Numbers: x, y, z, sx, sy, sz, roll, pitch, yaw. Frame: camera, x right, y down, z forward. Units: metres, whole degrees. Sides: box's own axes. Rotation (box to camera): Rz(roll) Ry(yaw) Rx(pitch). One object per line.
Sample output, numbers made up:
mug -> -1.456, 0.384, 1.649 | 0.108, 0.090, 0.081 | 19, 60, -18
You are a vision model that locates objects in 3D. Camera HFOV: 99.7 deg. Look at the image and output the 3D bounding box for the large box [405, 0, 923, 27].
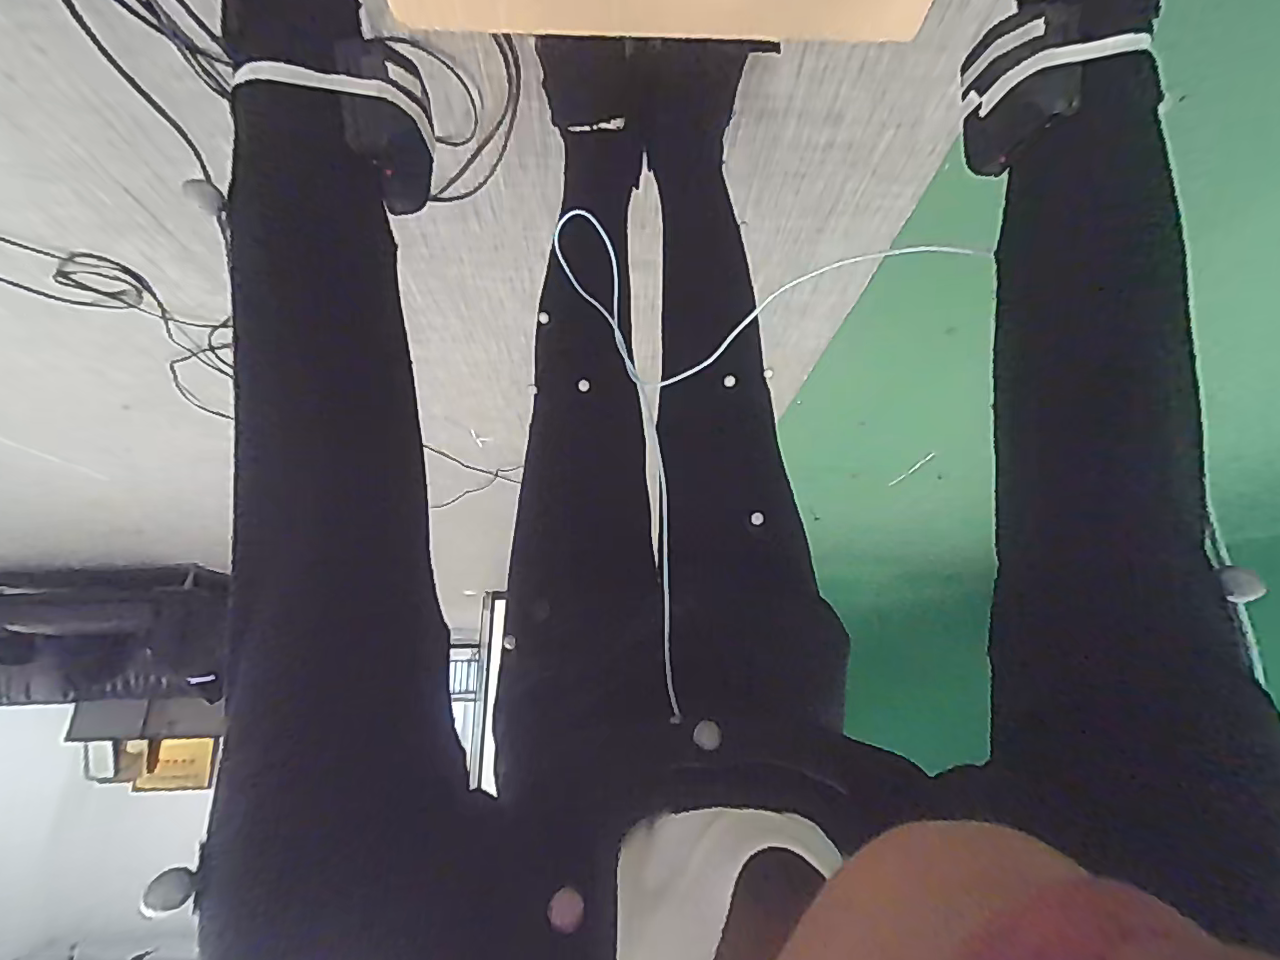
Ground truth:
large box -> 0.016, -0.552, 0.336 | 0.408, 0.320, 0.320 | -2, 160, -3
